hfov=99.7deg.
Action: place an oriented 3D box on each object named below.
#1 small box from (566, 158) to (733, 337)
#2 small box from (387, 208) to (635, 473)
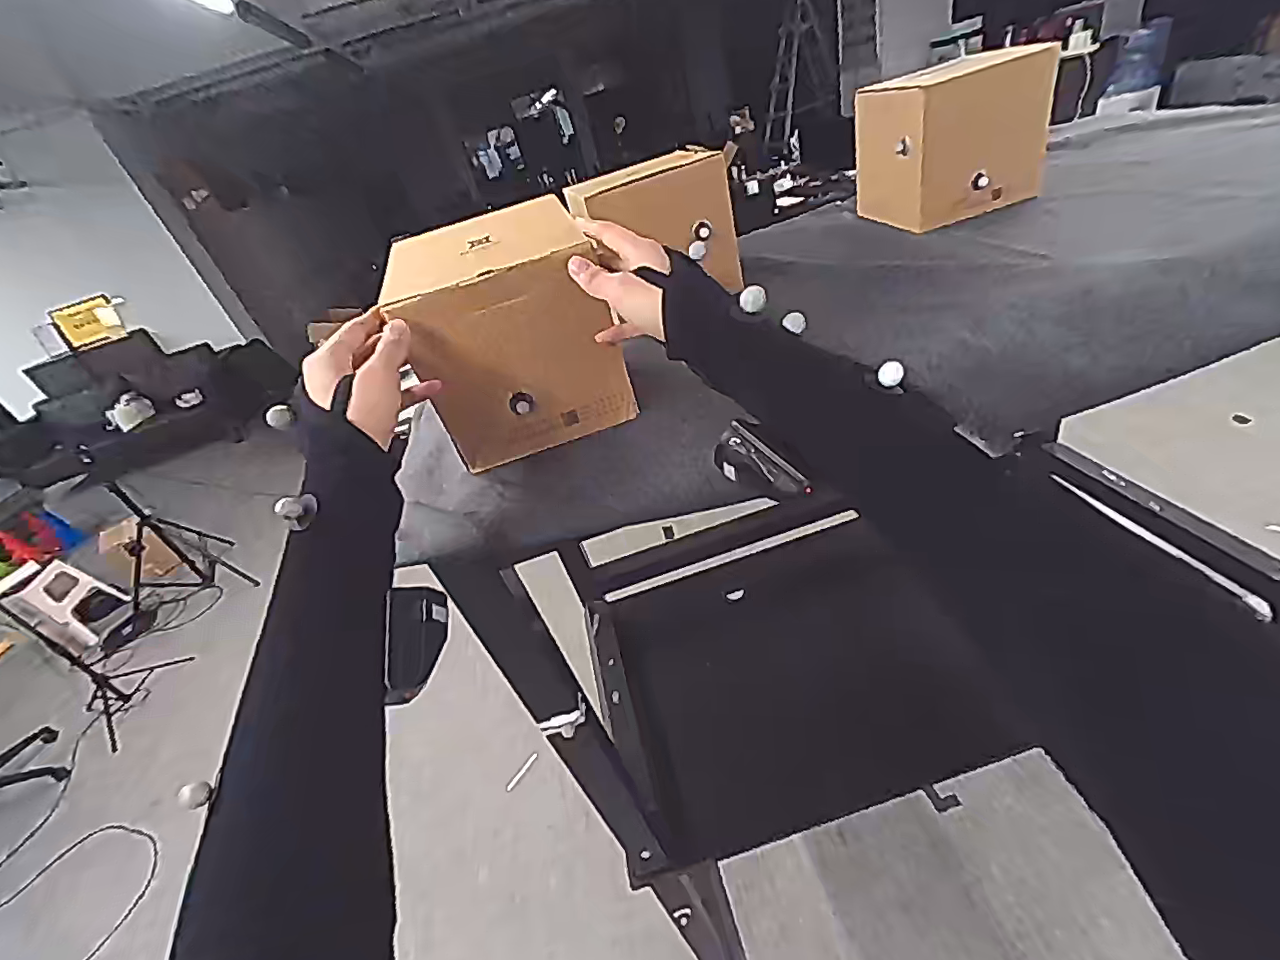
[{"bbox_3d":[0.016,-0.317,0.732,0.179,0.176,0.168,-20,34,-5],"label":"small box"},{"bbox_3d":[-0.116,-0.136,0.520,0.168,0.176,0.179,-20,40,-5],"label":"small box"}]
